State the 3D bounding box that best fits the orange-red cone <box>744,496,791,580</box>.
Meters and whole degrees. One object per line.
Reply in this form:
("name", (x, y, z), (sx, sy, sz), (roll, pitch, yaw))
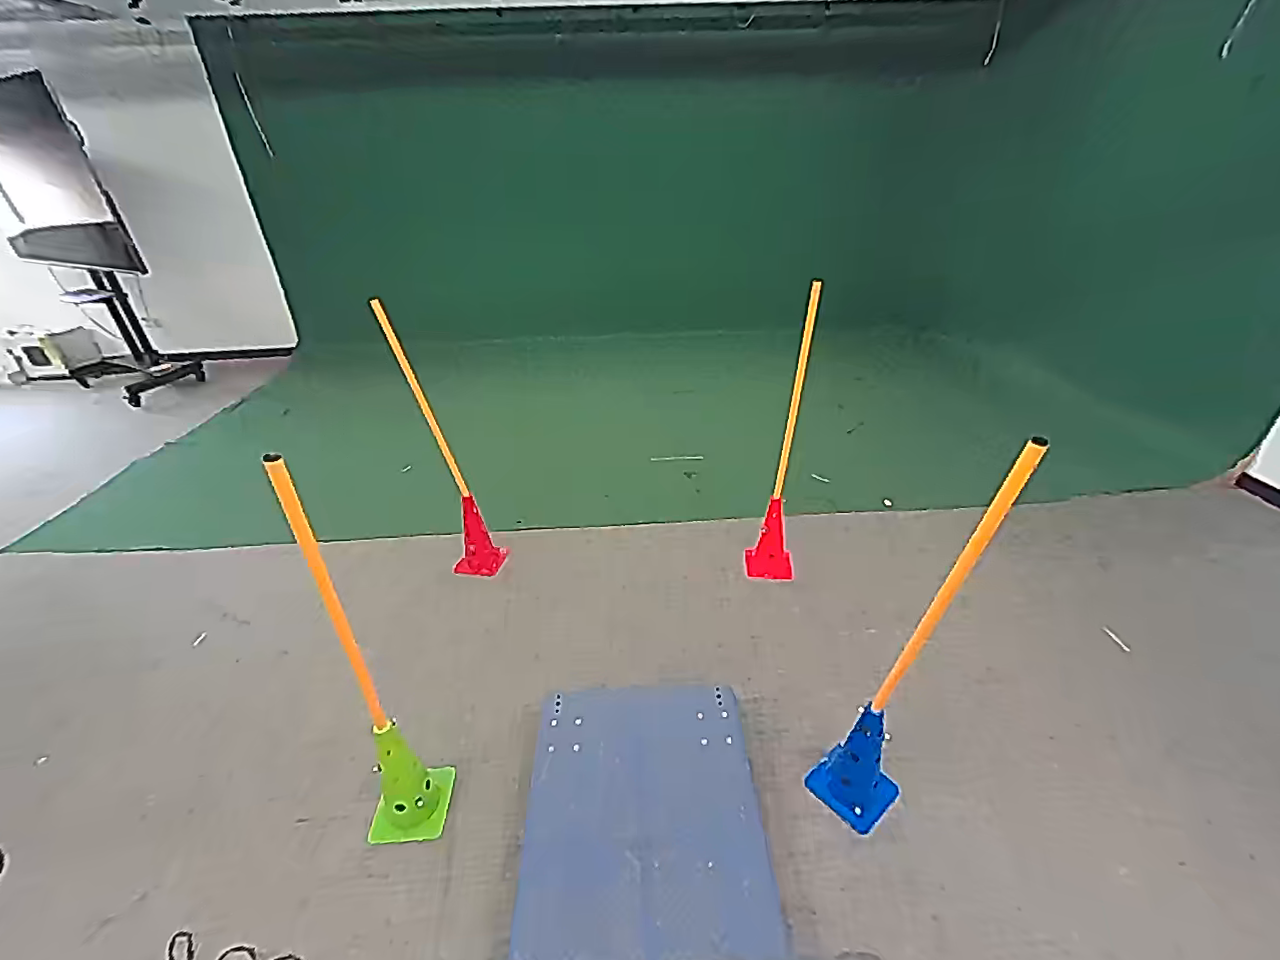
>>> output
("orange-red cone", (0.554, 0.229, 2.302), (0.198, 0.360, 0.199), (2, 32, 8))
